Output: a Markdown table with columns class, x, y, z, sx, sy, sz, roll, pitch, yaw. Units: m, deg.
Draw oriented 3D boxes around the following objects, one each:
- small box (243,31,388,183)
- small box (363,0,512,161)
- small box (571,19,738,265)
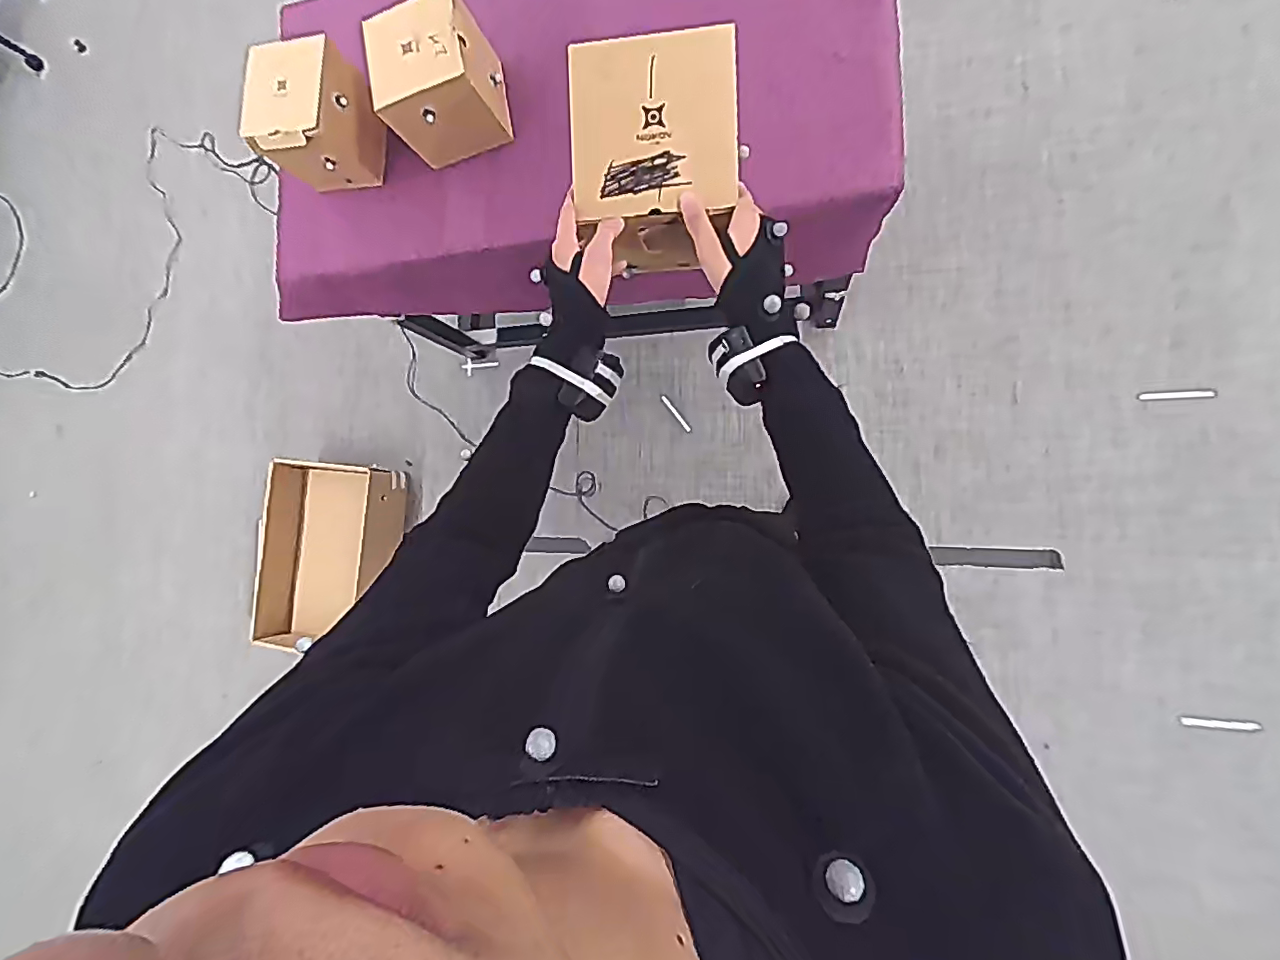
| class | x | y | z | sx | sy | sz | roll | pitch | yaw |
| --- | --- | --- | --- | --- | --- | --- | --- | --- | --- |
| small box | -0.604 | -0.688 | 1.023 | 0.168 | 0.176 | 0.179 | 4 | 88 | 13 |
| small box | -0.352 | -0.709 | 0.960 | 0.179 | 0.176 | 0.168 | -11 | 85 | 13 |
| small box | 0.025 | -0.352 | 0.604 | 0.168 | 0.176 | 0.179 | -1 | 92 | 7 |
